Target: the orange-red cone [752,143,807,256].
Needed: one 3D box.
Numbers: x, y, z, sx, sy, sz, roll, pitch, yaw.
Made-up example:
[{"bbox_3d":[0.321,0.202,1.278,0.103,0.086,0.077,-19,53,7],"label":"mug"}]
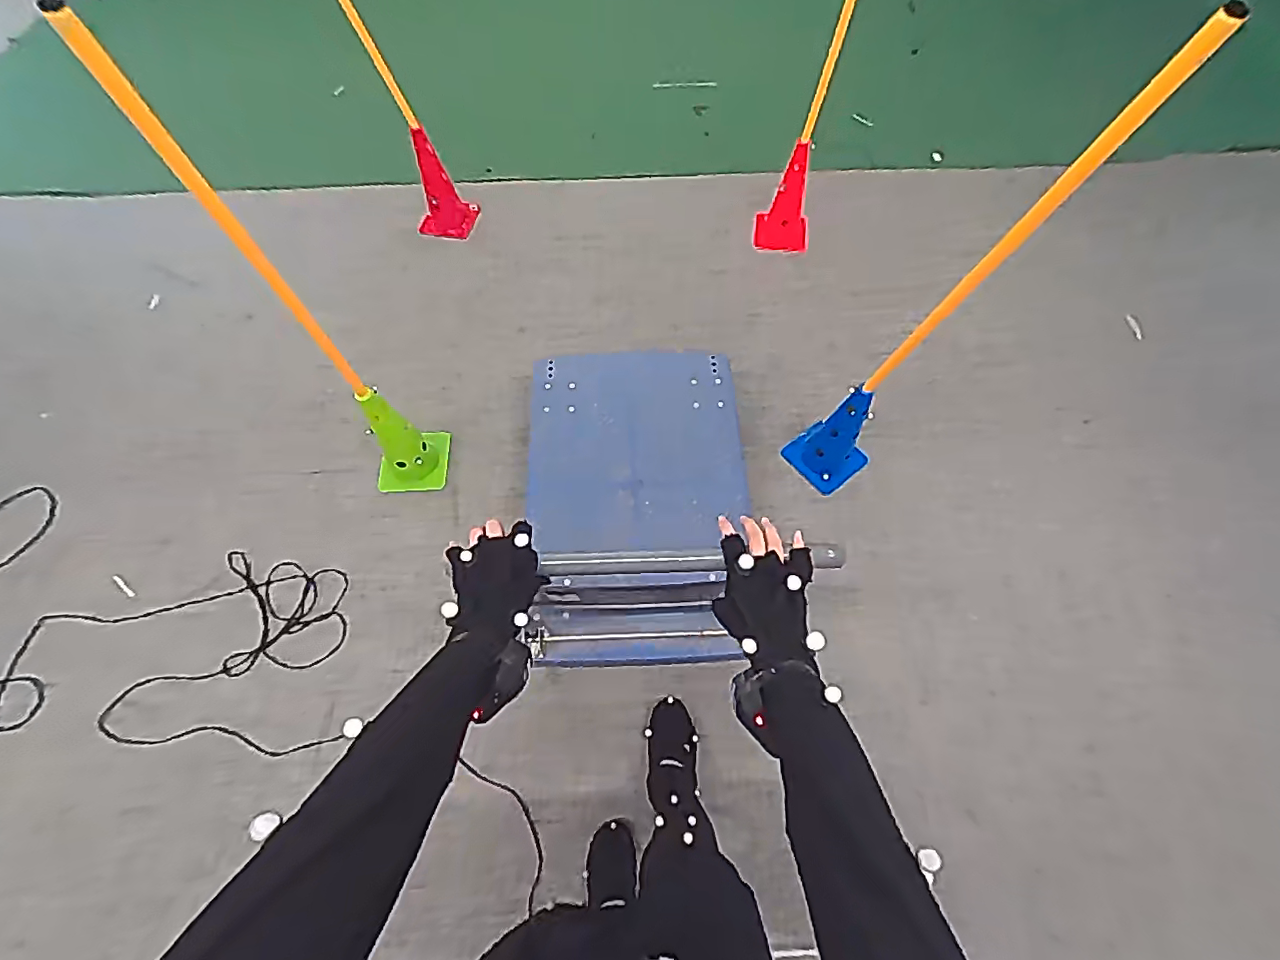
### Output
[{"bbox_3d":[0.536,-1.018,1.936,0.198,0.360,0.199,8,65,5],"label":"orange-red cone"}]
